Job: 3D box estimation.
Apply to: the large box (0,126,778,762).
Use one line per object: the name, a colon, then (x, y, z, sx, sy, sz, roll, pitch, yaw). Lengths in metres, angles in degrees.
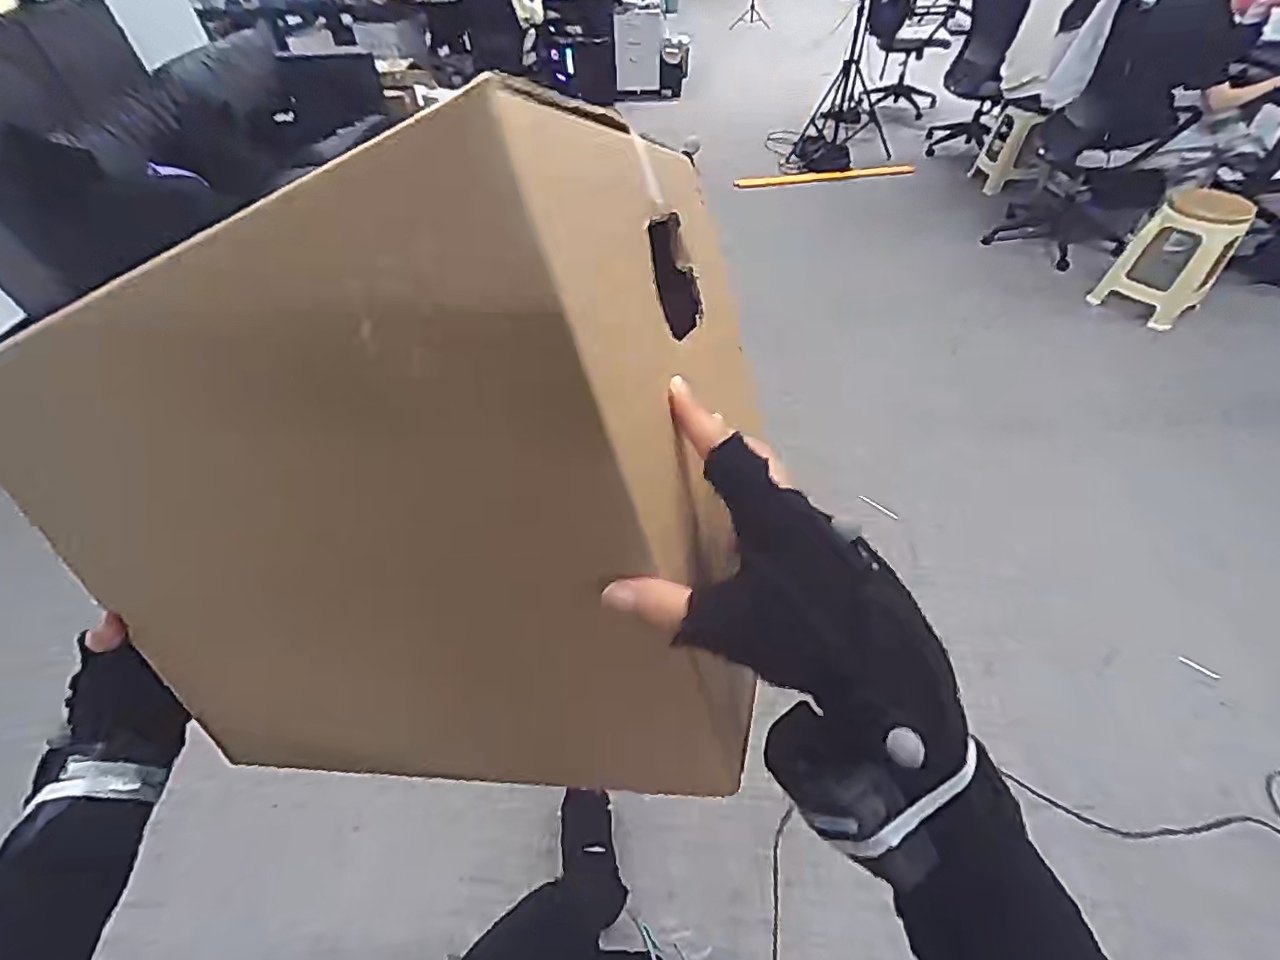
large box: (-0.129, -0.016, 0.430, 0.408, 0.320, 0.320, -9, 24, 22)
